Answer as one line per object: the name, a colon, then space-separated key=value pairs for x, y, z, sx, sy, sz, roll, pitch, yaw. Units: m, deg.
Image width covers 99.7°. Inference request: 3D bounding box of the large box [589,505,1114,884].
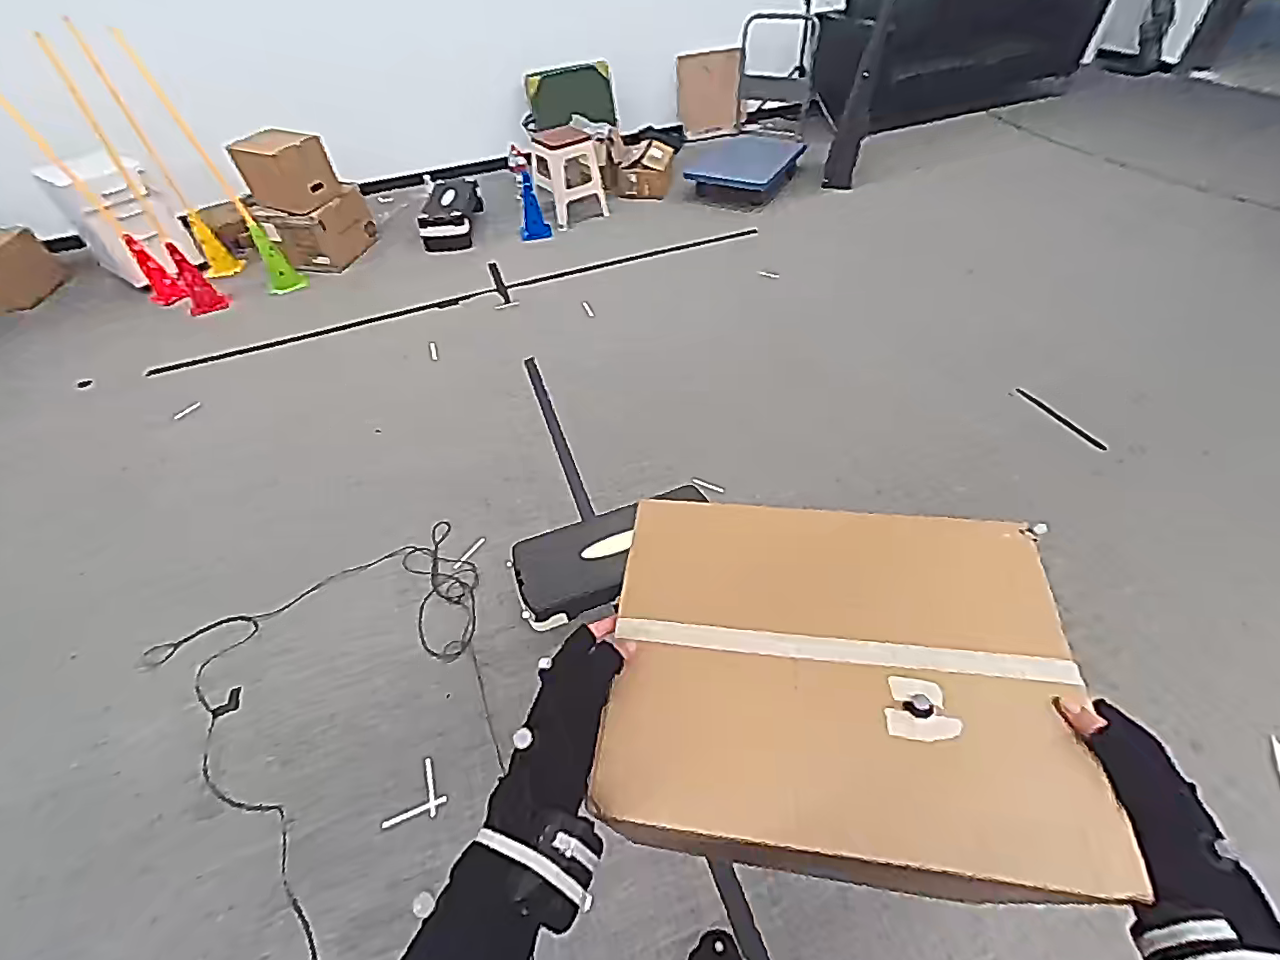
large box: x=0.182 y=0.247 z=0.626 sx=0.408 sy=0.320 sz=0.320 roll=3 pitch=53 yaw=9
